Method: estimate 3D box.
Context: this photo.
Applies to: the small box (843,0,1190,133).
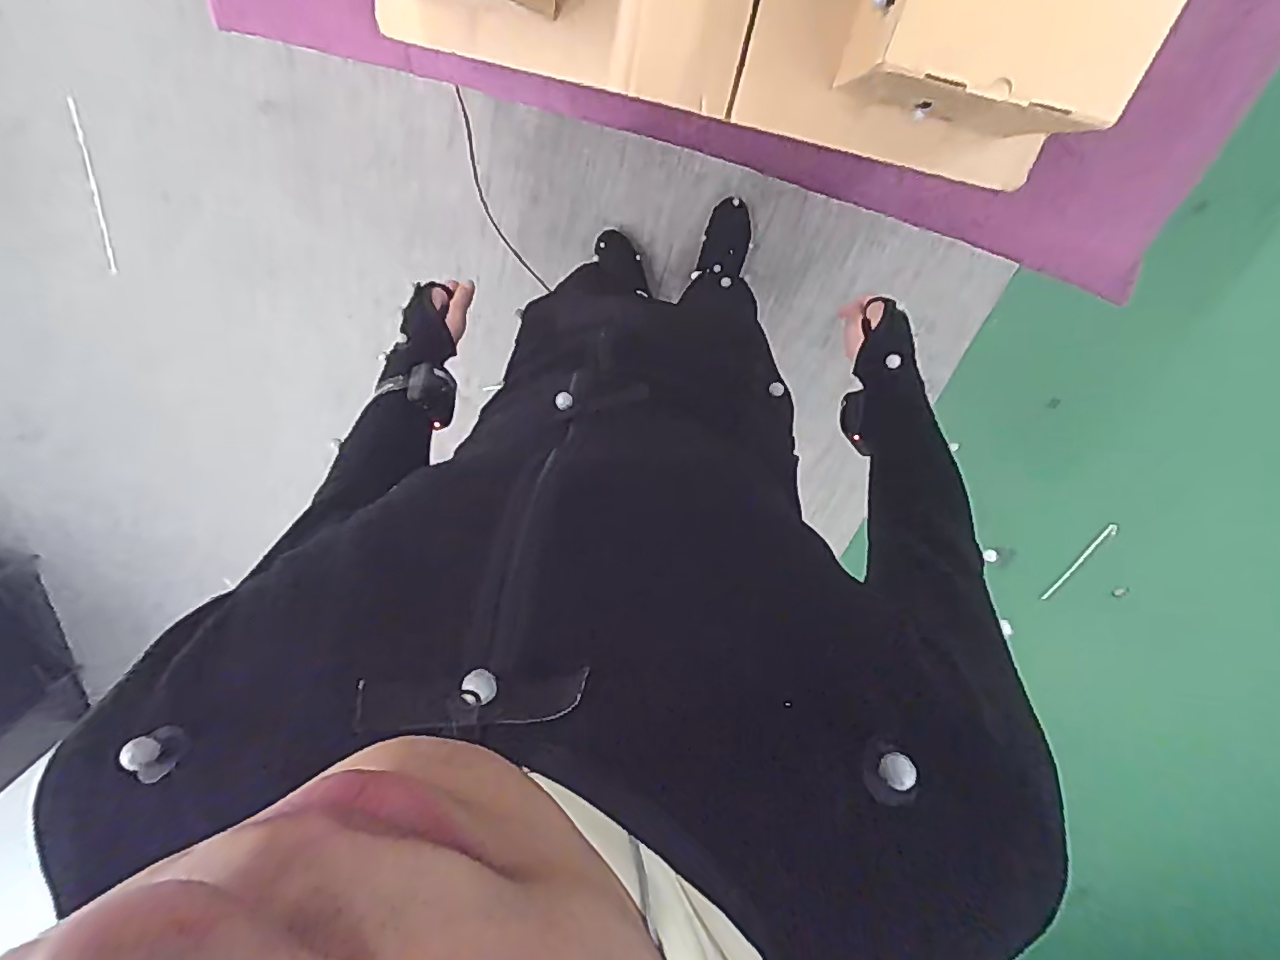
[{"bbox_3d":[0.265,-0.367,0.383,0.168,0.176,0.179,14,123,-1],"label":"small box"}]
